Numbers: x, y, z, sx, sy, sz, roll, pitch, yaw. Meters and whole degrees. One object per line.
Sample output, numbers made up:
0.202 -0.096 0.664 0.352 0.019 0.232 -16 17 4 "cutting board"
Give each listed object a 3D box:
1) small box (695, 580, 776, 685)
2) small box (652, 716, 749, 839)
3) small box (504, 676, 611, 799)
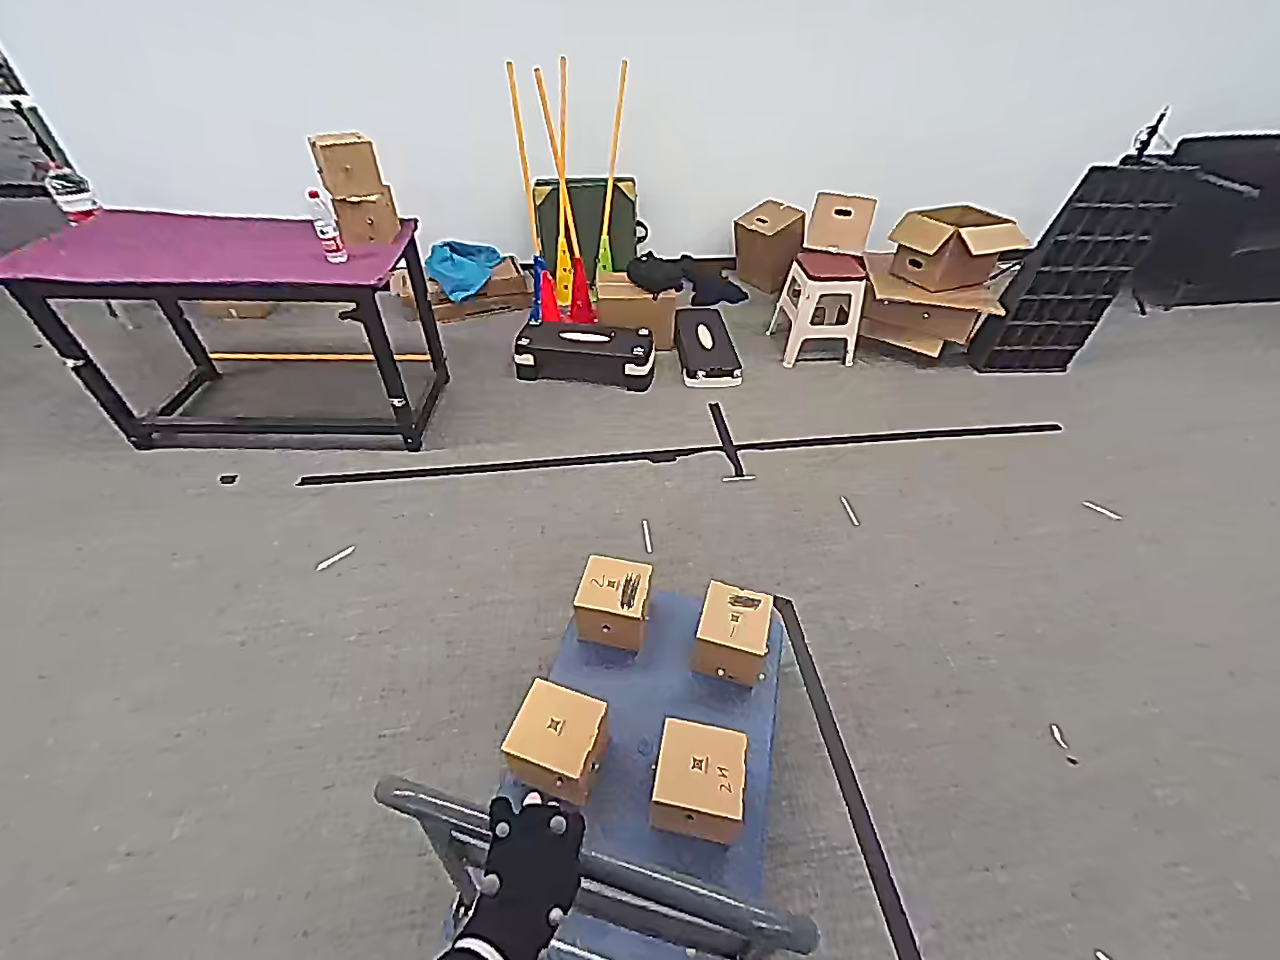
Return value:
0.241 0.392 1.390 0.168 0.176 0.179 13 46 12 "small box"
0.124 0.628 1.138 0.179 0.176 0.168 10 44 8 "small box"
-0.175 0.570 1.191 0.179 0.176 0.168 15 45 12 "small box"
